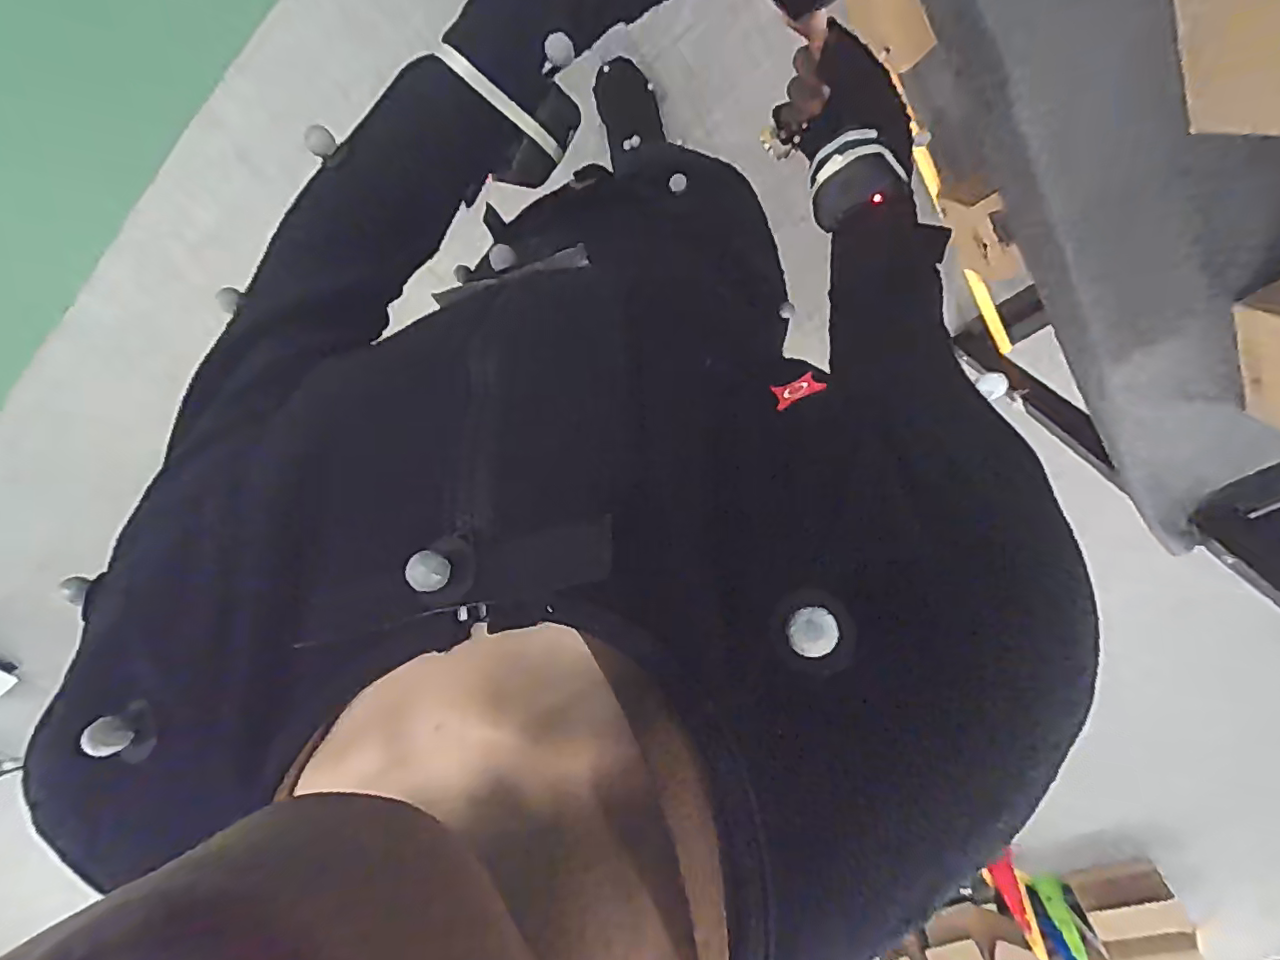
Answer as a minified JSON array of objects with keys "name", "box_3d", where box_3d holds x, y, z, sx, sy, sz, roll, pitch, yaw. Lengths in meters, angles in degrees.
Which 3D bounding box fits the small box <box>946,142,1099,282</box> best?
[{"name":"small box","box_3d":[0.717,-0.514,1.036,0.179,0.176,0.168,-28,118,20]}]

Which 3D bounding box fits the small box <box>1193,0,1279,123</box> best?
[{"name":"small box","box_3d":[0.550,-0.385,0.382,0.168,0.176,0.179,-29,117,20]}]
